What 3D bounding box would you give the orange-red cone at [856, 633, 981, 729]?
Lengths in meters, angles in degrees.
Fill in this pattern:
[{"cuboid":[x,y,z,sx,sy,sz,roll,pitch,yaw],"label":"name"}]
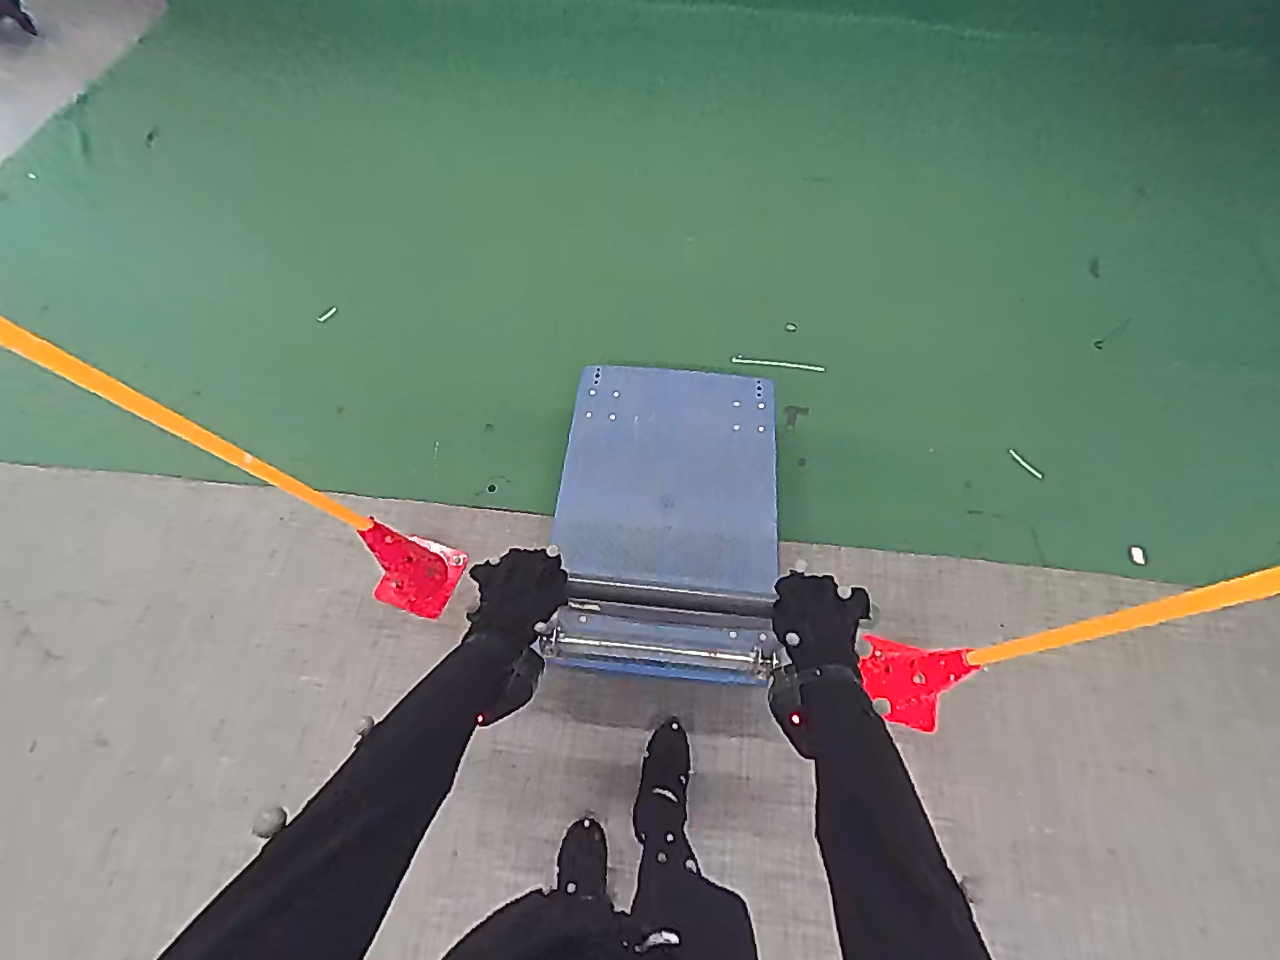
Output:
[{"cuboid":[0.655,0.427,1.217,0.198,0.360,0.199,15,64,9],"label":"orange-red cone"}]
